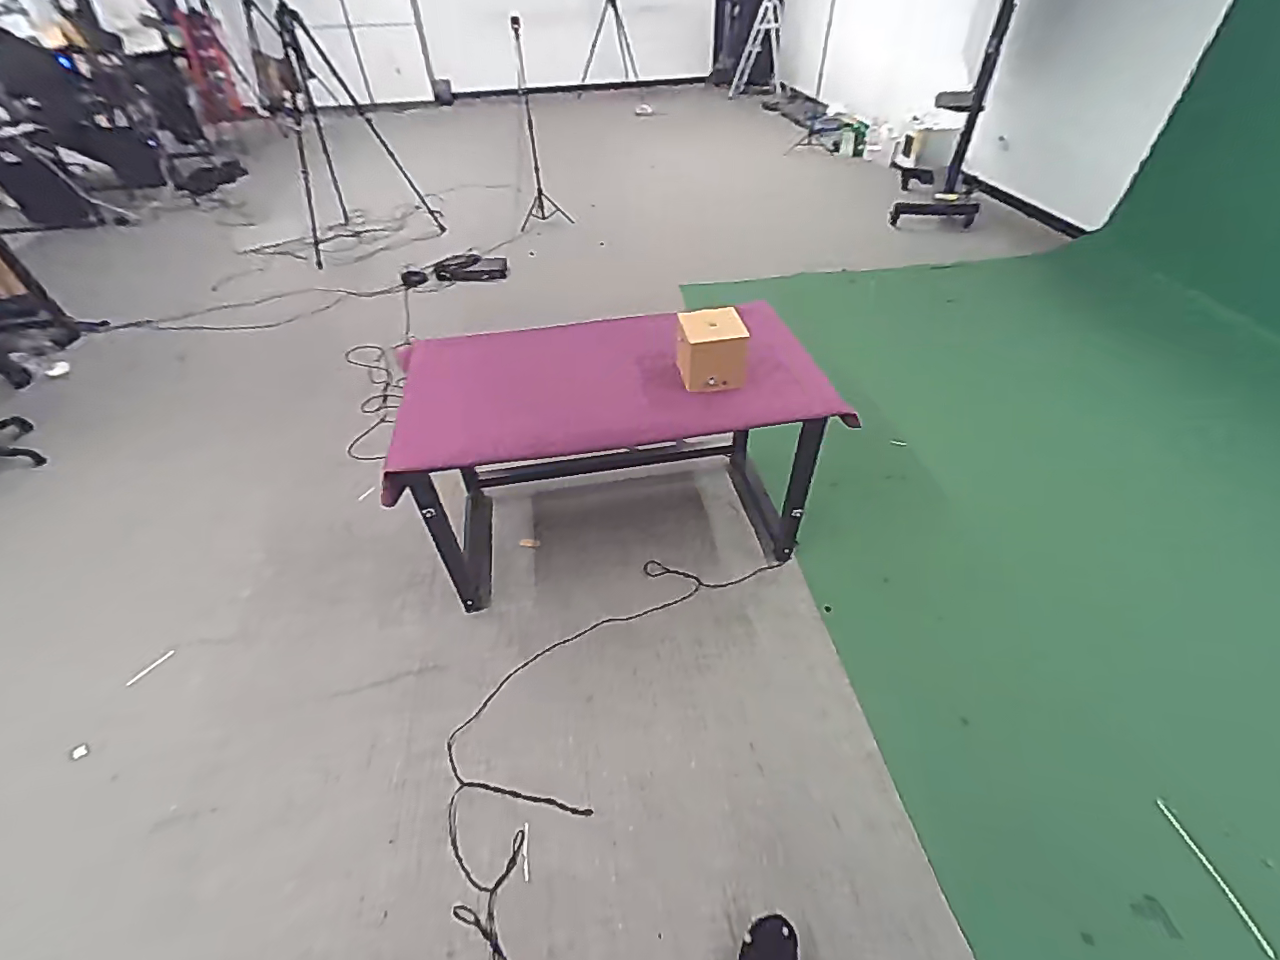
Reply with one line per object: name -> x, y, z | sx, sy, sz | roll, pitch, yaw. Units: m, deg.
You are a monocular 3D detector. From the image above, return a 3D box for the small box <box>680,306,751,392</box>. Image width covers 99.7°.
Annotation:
small box -> 0.206, -0.370, 1.530 | 0.168, 0.176, 0.179 | -8, 44, -3
